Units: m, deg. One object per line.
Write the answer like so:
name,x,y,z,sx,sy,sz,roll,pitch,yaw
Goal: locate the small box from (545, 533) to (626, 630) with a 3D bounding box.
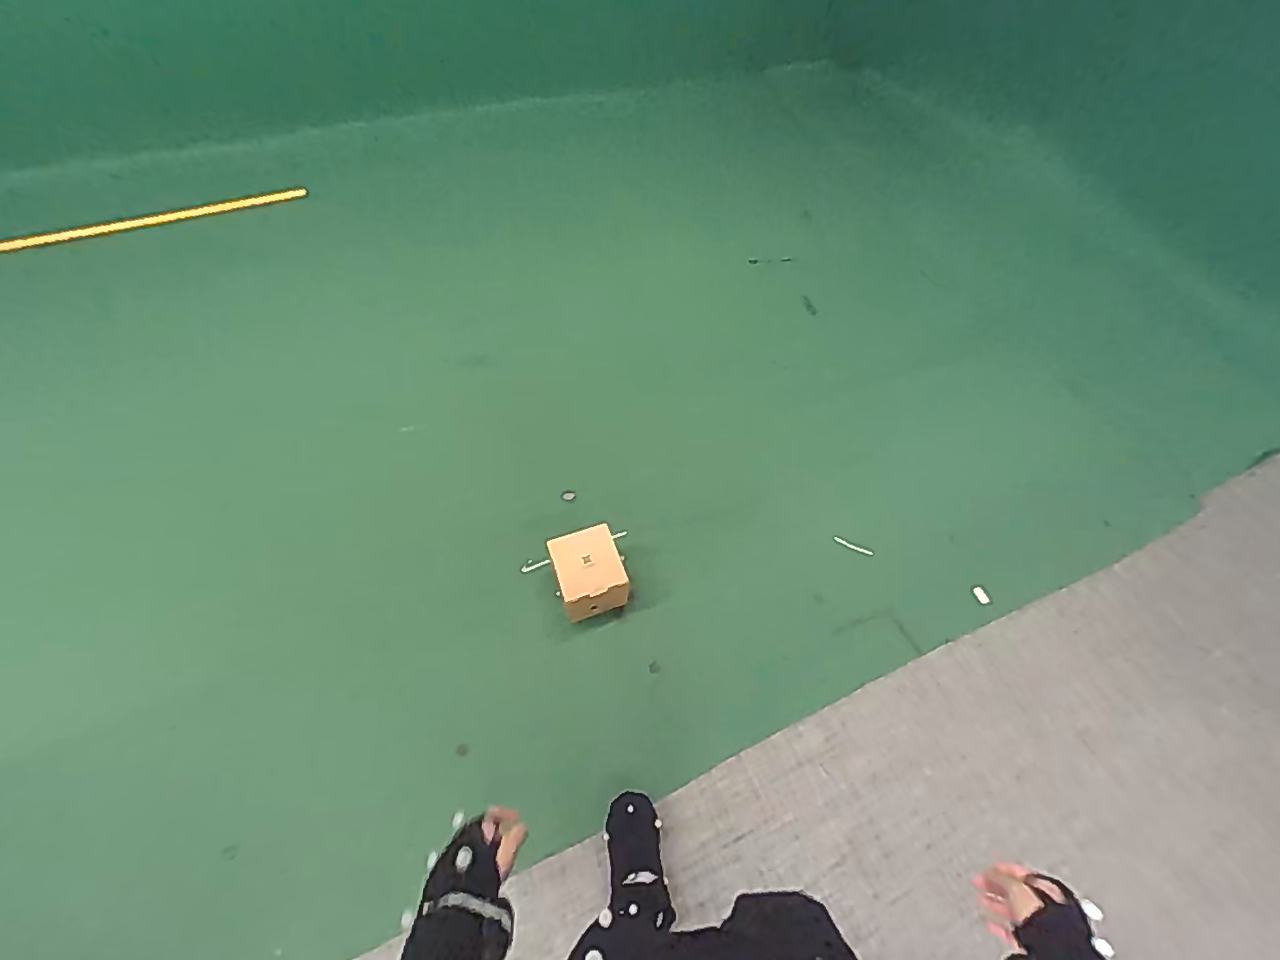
small box,-0.147,0.271,1.429,0.168,0.176,0.179,-16,61,-14
